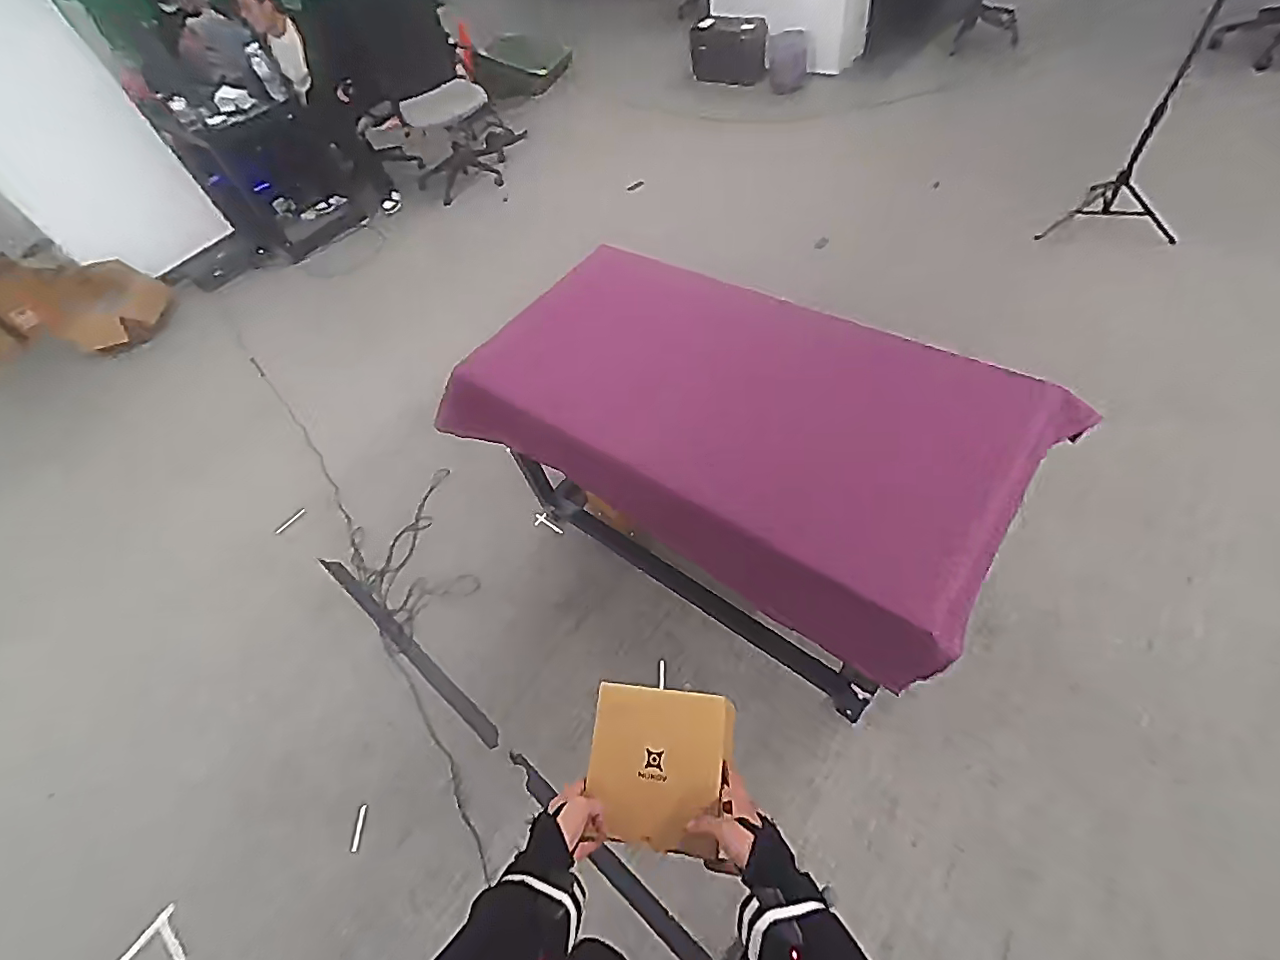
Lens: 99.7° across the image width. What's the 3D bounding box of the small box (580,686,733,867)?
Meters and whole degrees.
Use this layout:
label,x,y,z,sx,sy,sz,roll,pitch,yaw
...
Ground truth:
label,x,y,z,sx,sy,sz,roll,pitch,yaw
small box,0.034,0.387,0.730,0.168,0.176,0.179,1,66,15
